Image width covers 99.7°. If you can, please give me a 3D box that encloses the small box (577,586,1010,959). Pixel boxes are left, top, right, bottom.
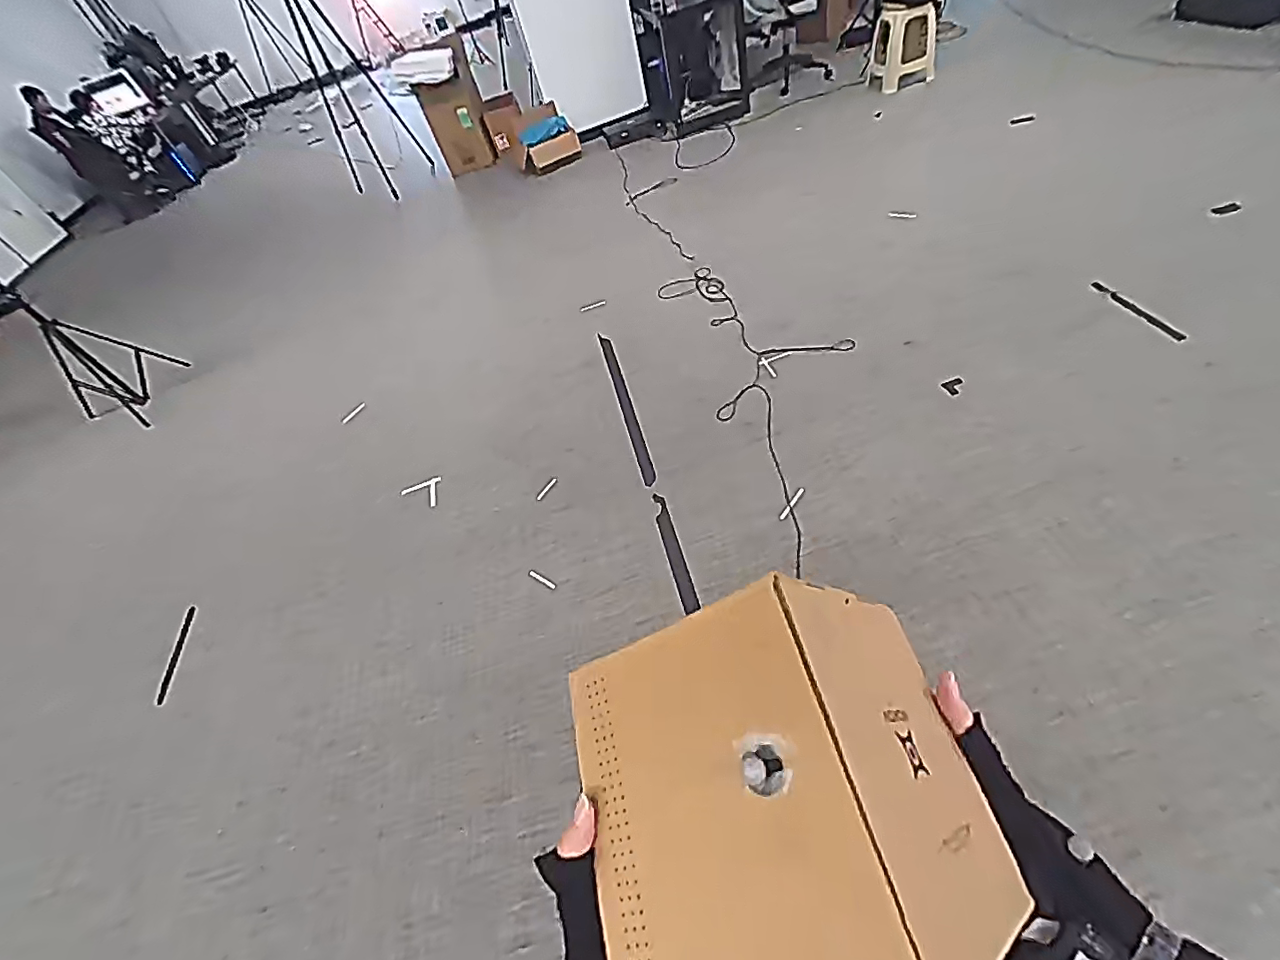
[{"bbox_3d":[0.079,0.190,0.335,0.176,0.168,0.179,-36,52,30],"label":"small box"}]
